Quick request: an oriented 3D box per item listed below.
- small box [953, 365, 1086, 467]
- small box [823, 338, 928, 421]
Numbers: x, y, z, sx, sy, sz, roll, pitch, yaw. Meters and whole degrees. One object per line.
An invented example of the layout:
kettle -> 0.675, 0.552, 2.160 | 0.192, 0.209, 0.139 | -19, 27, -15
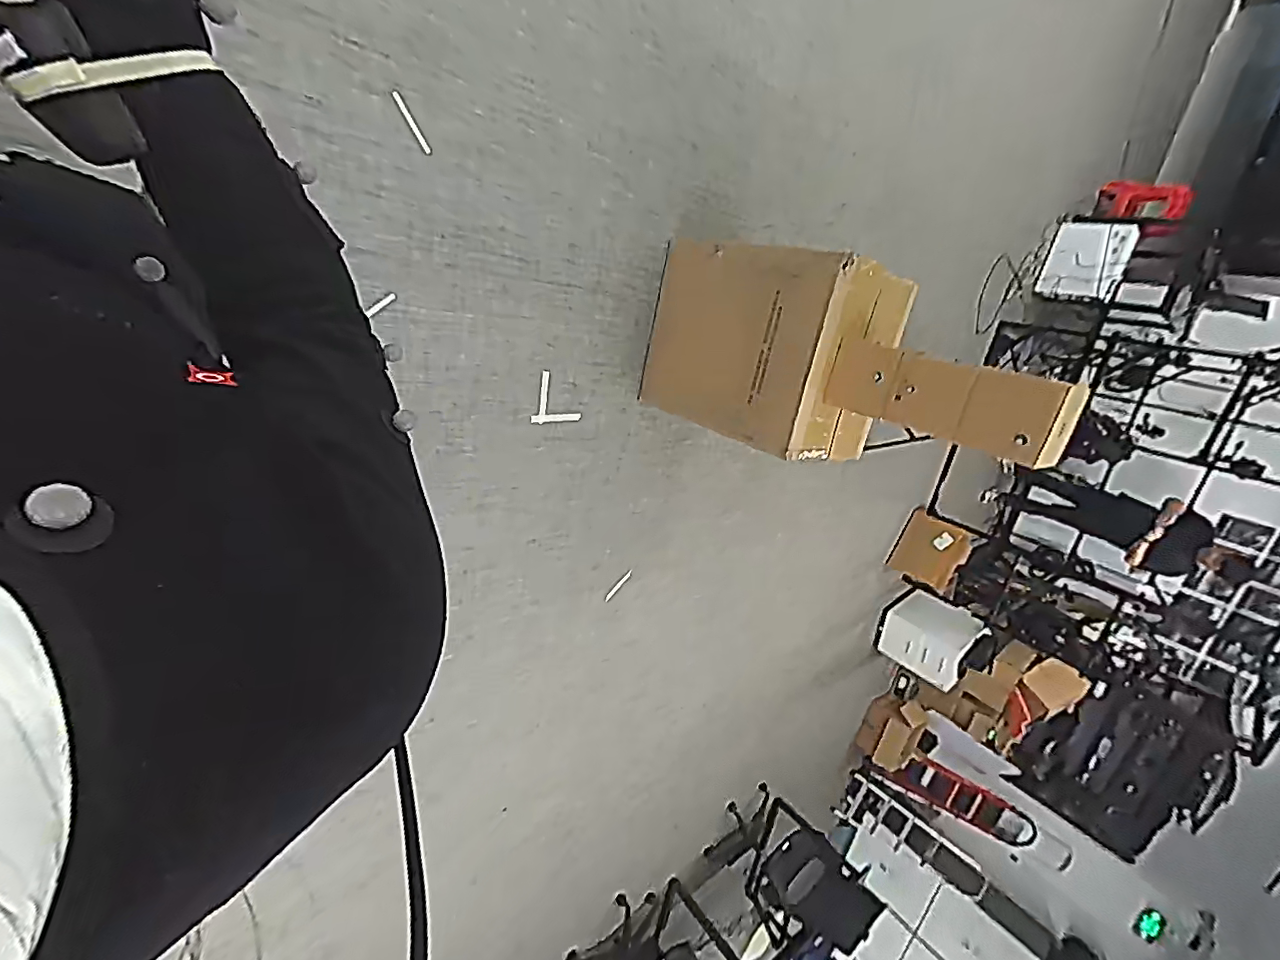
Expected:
small box -> 0.812, -0.139, 1.171 | 0.168, 0.176, 0.179 | -4, 114, -41
small box -> 0.602, -0.261, 1.394 | 0.168, 0.176, 0.179 | -4, 115, -41
